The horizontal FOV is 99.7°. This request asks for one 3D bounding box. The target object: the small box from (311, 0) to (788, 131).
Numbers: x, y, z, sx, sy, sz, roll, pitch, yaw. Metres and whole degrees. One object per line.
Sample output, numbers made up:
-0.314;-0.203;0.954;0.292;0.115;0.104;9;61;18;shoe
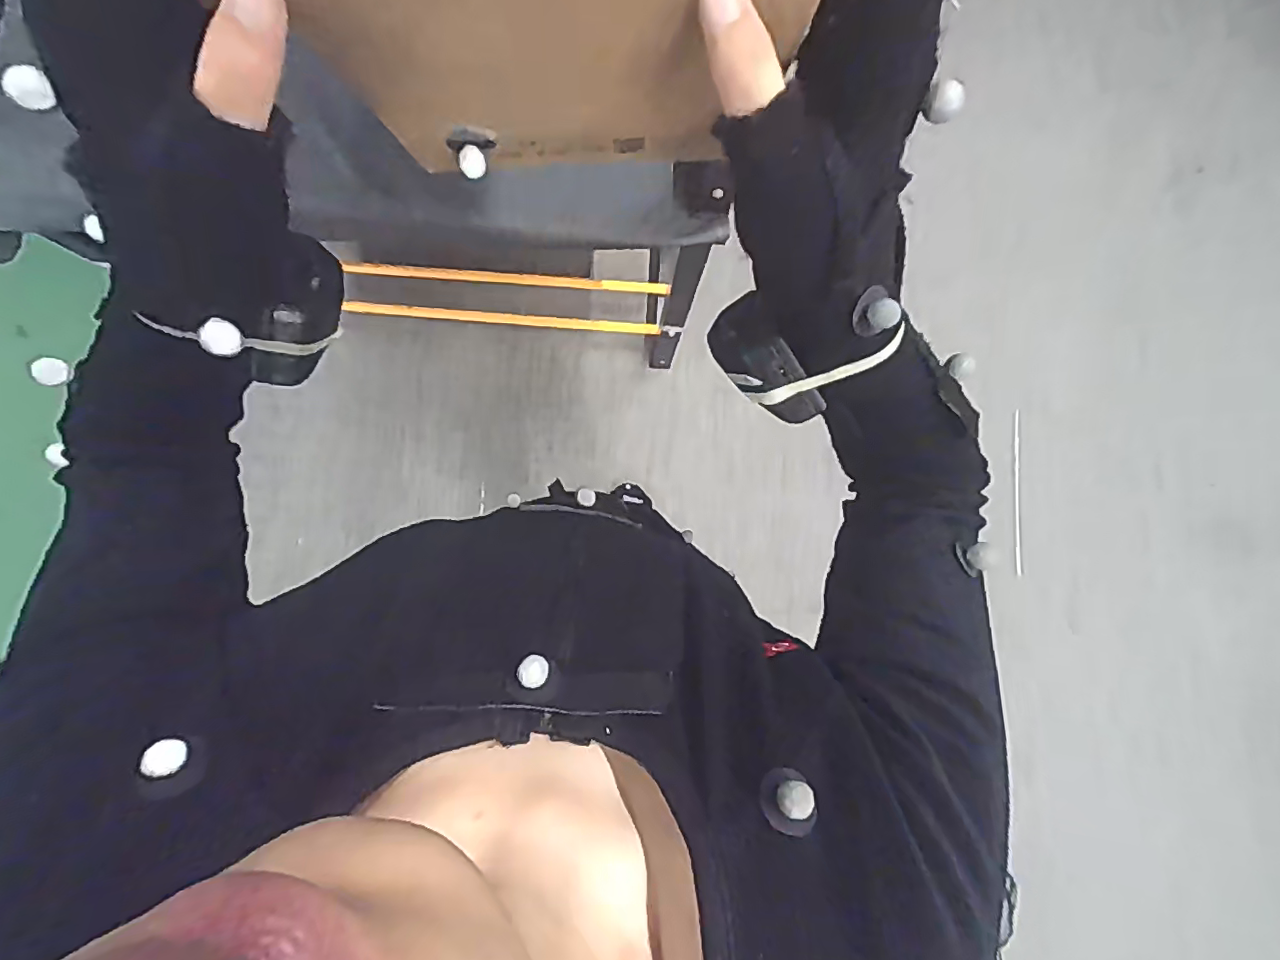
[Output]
-0.030;-0.239;0.175;0.168;0.176;0.179;-3;98;-1;small box
